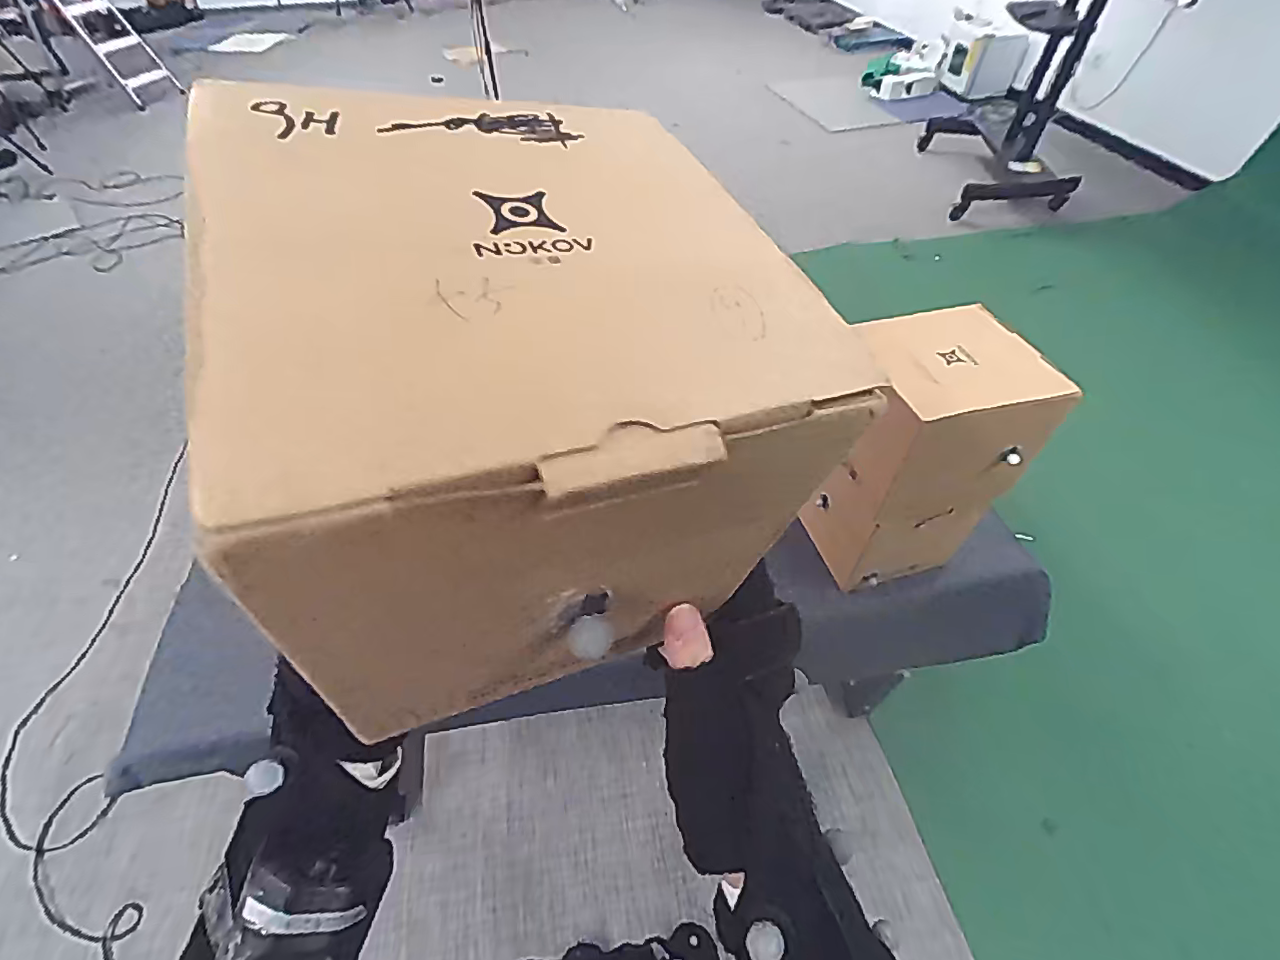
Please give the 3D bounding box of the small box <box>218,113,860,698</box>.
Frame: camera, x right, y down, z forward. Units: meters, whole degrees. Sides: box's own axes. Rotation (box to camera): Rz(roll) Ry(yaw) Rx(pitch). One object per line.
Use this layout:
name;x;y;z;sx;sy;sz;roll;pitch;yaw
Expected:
small box;-0.053;-0.024;0.236;0.168;0.176;0.179;-13;59;-24

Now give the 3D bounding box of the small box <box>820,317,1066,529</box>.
small box;0.330;-0.065;0.641;0.179;0.176;0.168;-12;49;-7

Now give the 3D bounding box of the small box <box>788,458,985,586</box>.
small box;0.332;0.033;0.770;0.168;0.176;0.179;-12;50;-9
